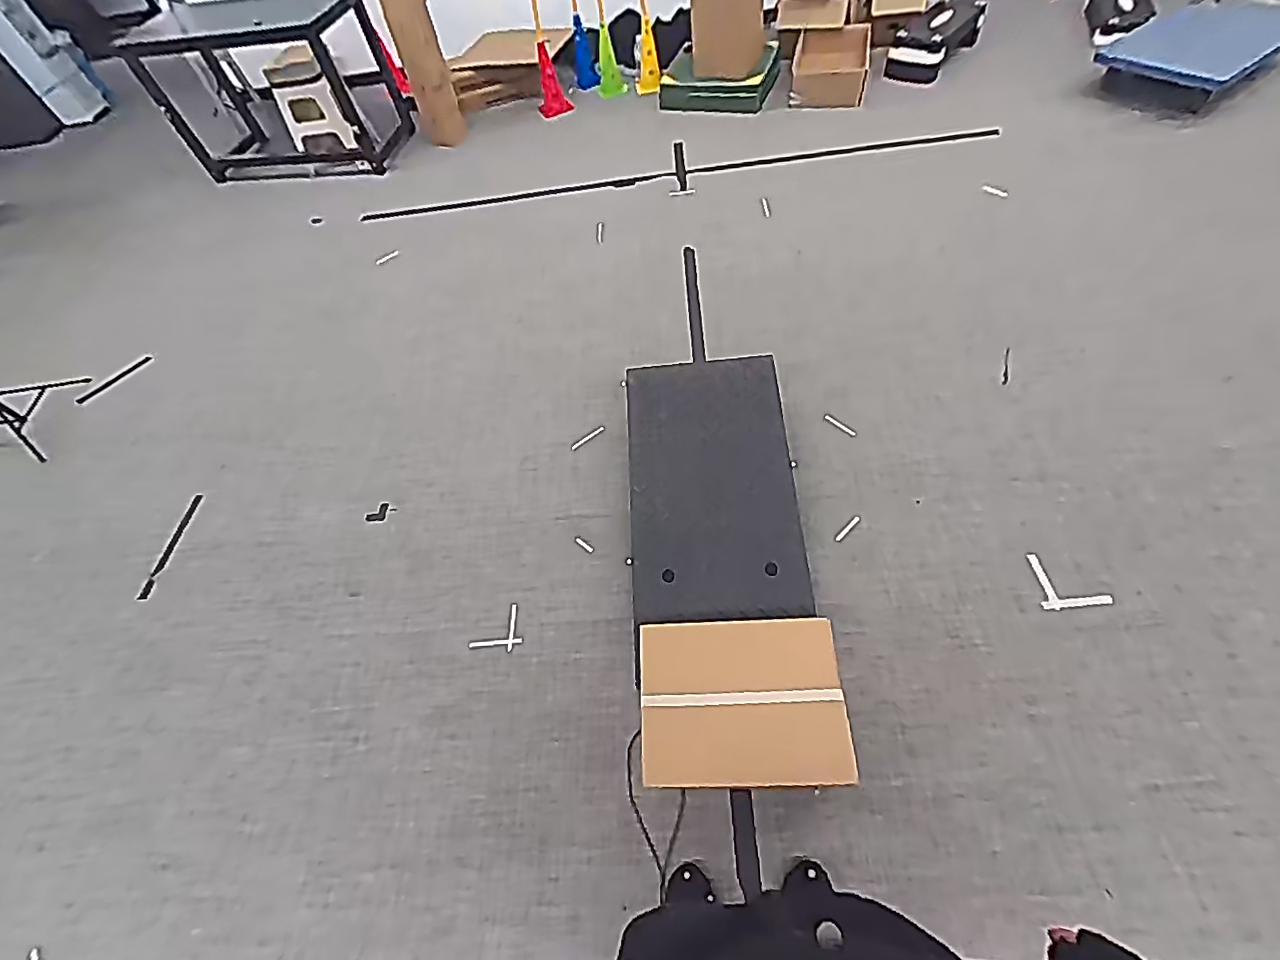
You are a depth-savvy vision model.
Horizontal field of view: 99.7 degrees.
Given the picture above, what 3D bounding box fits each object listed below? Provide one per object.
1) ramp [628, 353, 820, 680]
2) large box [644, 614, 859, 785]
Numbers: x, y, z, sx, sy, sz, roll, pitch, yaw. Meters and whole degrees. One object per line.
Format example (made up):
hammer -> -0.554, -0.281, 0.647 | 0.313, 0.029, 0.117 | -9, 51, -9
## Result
ramp -> 0.225, 0.058, 1.609 | 0.509, 0.206, 0.991 | -6, 56, 3
large box -> 0.230, 0.509, 1.227 | 0.408, 0.320, 0.320 | -4, 59, 6
